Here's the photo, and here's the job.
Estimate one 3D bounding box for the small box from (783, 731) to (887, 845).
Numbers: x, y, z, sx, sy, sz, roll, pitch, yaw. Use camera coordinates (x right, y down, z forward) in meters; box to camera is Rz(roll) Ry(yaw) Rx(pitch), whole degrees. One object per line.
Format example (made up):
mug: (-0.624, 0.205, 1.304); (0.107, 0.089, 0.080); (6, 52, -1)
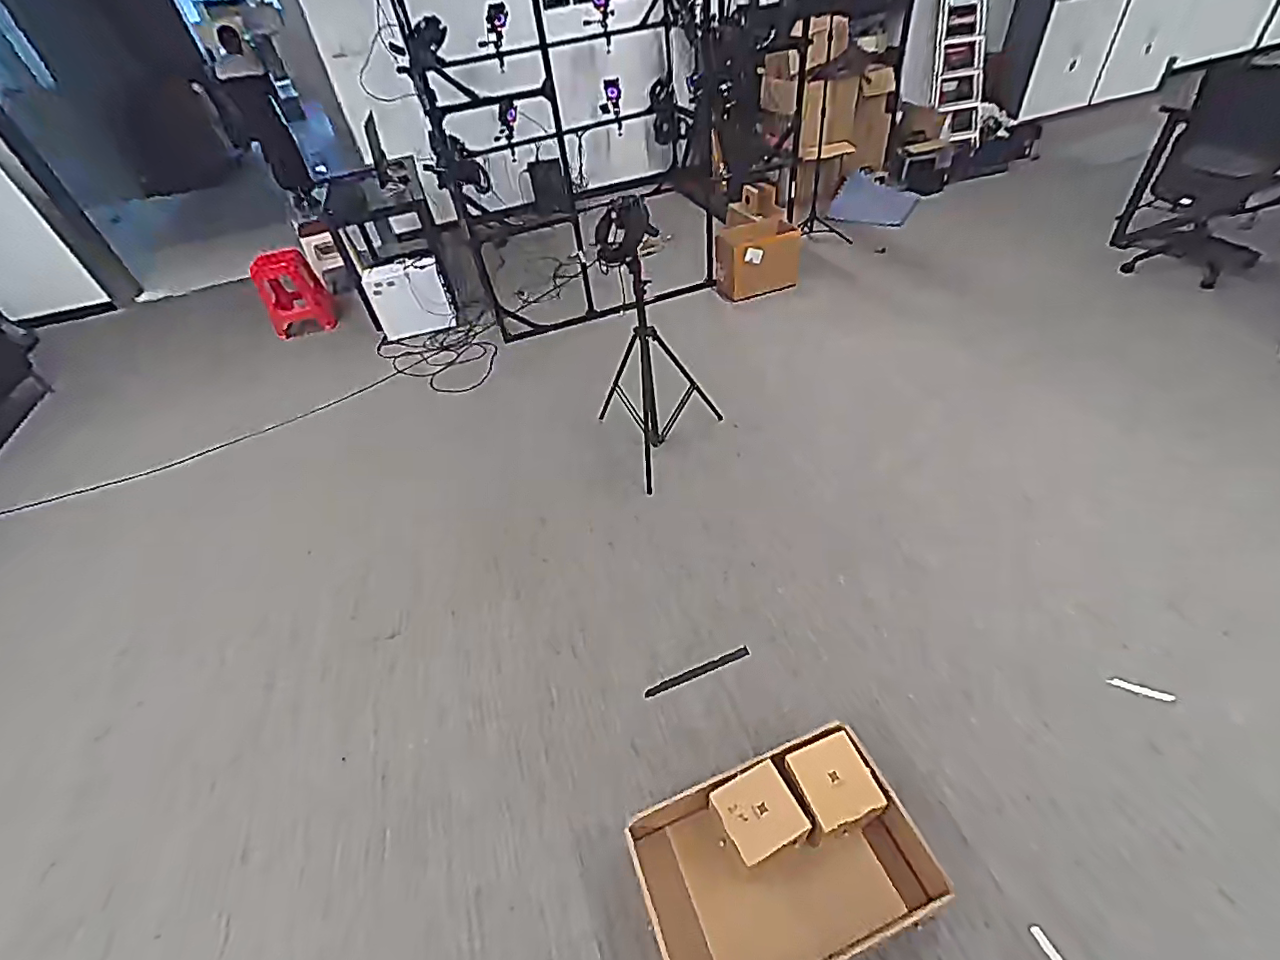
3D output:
small box: (0.469, 0.761, 1.333); (0.168, 0.176, 0.179); (-20, 48, -9)
